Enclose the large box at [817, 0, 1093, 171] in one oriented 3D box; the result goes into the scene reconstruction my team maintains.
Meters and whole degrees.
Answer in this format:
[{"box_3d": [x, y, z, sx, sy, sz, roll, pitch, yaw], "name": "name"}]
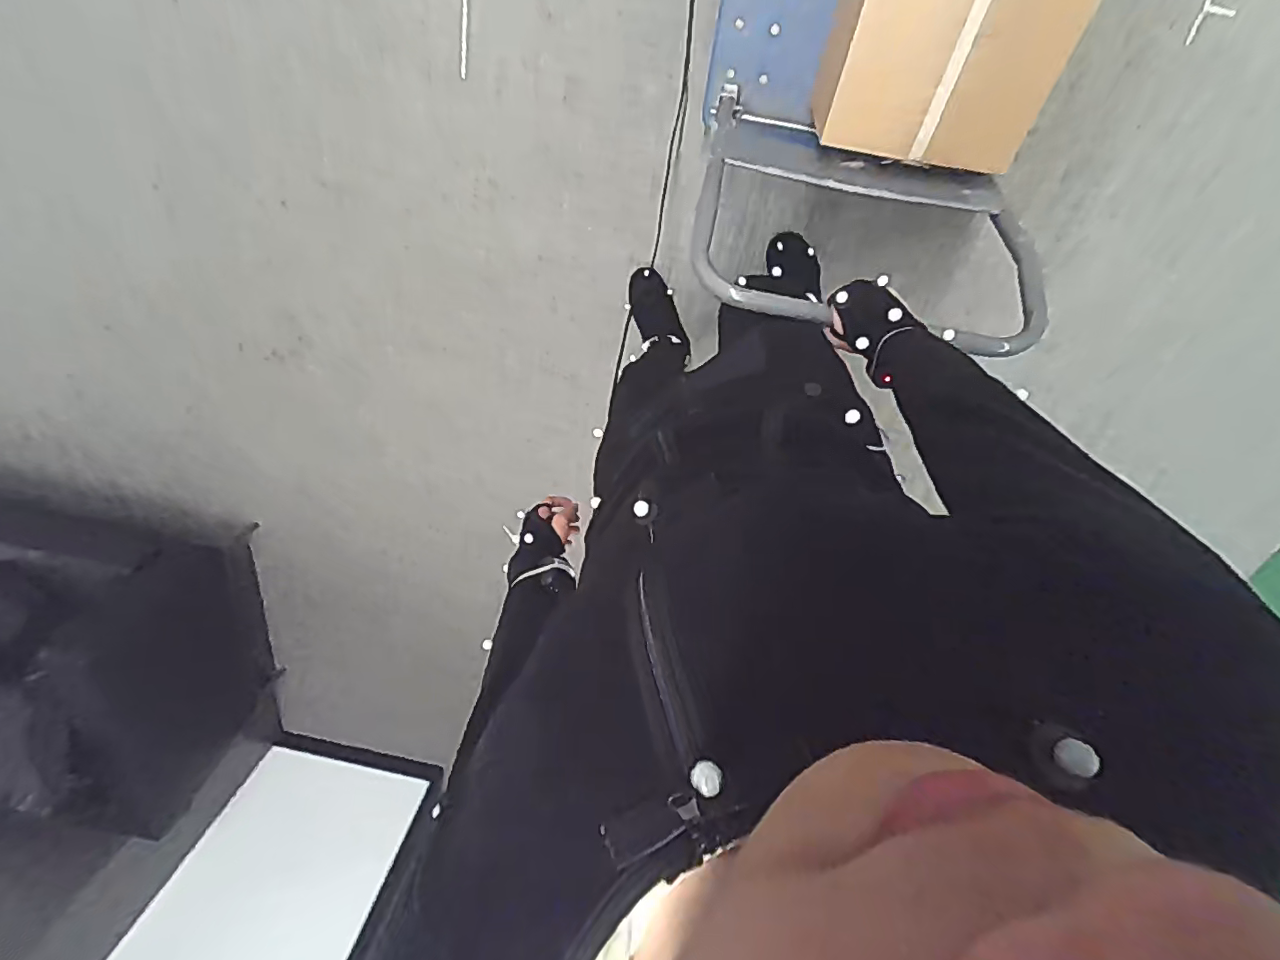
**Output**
[{"box_3d": [0.503, -0.784, 0.876, 0.320, 0.320, 0.408, 10, 136, 2], "name": "large box"}]
